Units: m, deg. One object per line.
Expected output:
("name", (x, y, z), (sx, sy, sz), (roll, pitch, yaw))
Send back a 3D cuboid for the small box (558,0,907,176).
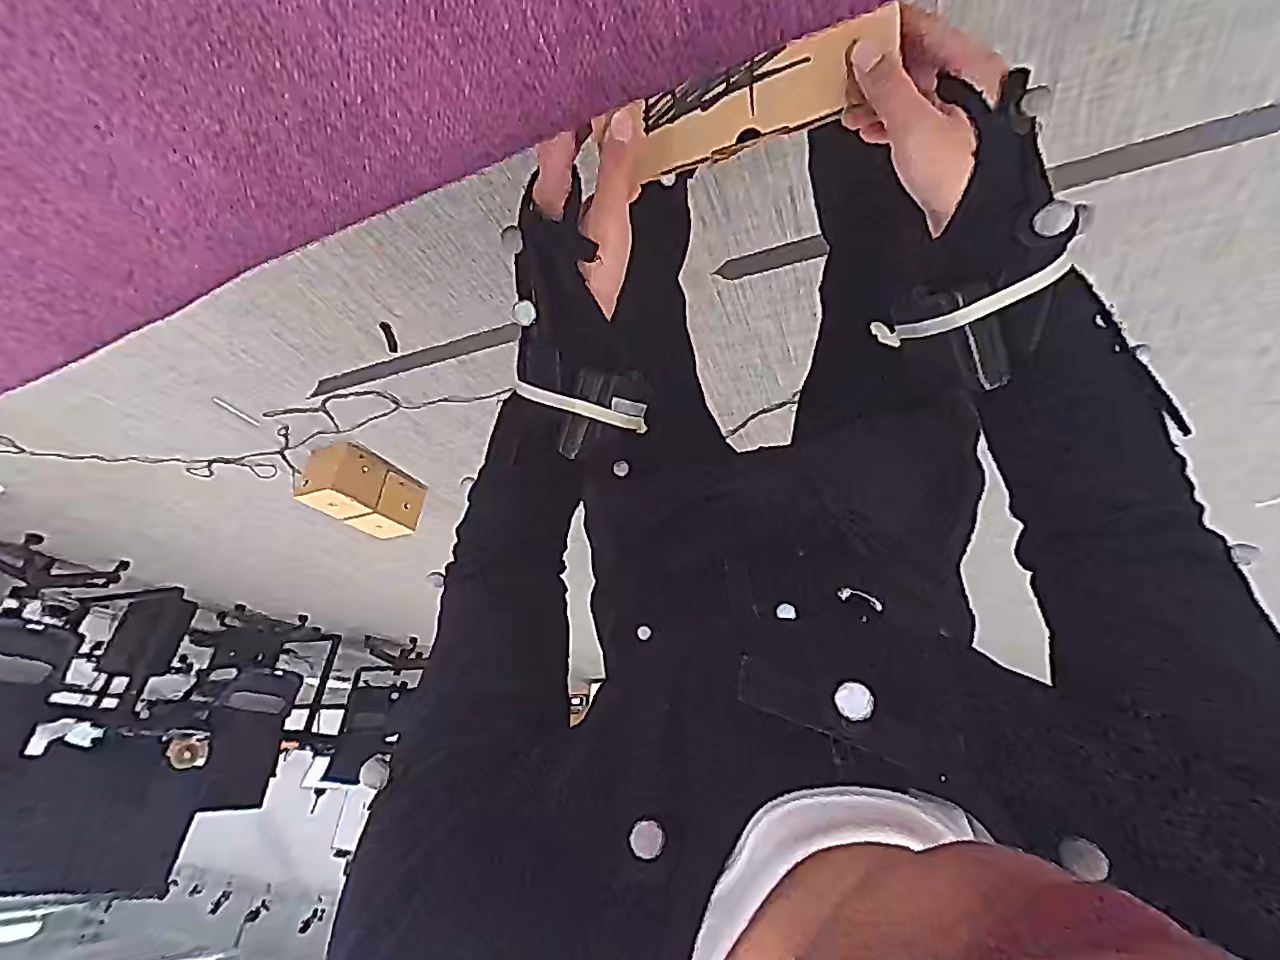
("small box", (0.039, -0.302, 0.315), (0.168, 0.176, 0.179), (-13, 120, 10))
